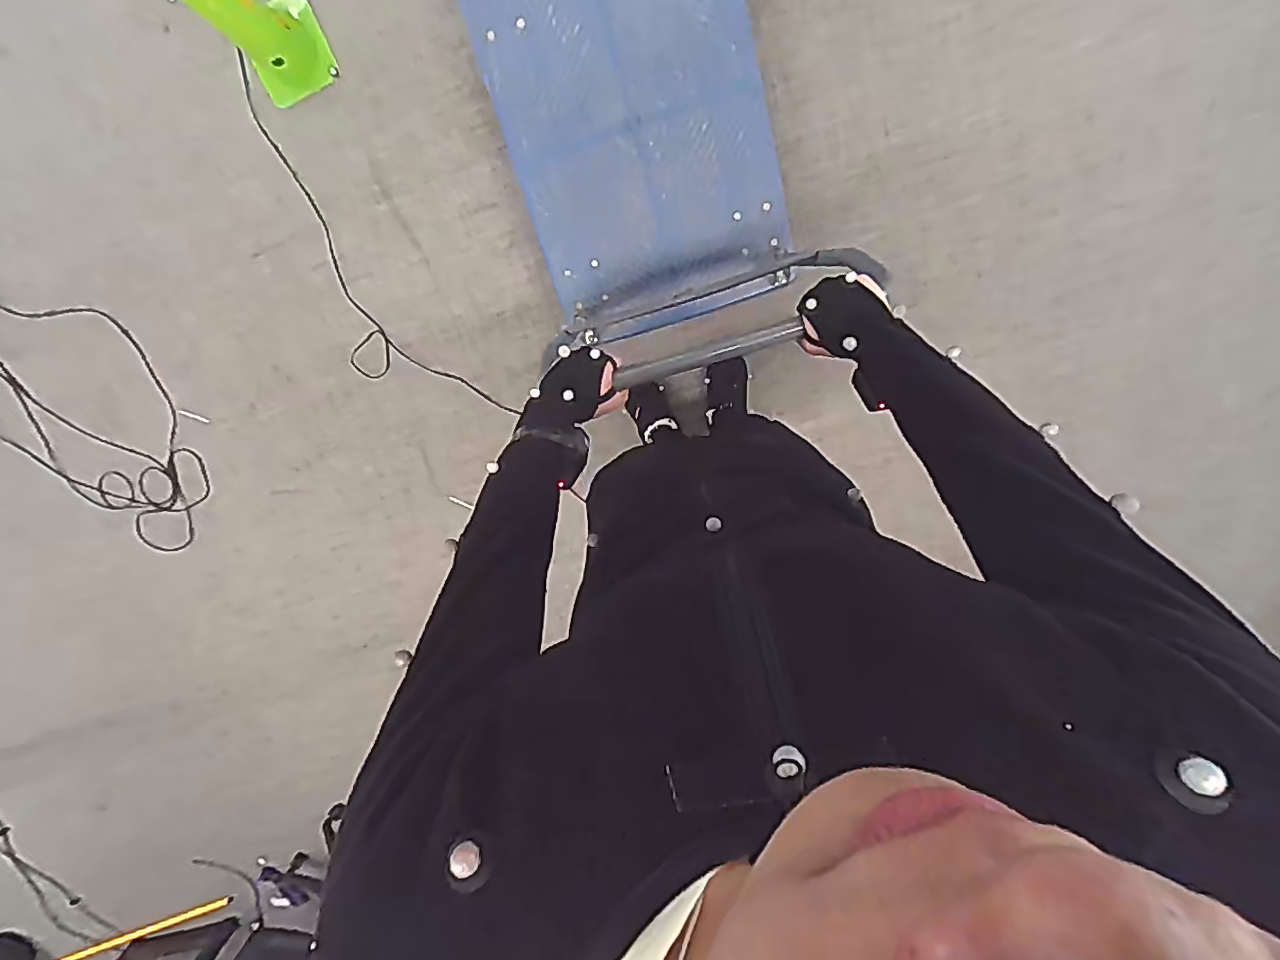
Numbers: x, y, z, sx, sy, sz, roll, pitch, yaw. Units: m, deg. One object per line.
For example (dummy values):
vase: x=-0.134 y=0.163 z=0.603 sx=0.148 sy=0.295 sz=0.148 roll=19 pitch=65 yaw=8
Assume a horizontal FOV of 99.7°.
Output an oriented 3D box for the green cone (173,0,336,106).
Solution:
green cone: x=-0.882 y=-1.005 z=1.163 sx=0.202 sy=0.368 sz=0.200 roll=-20 pitch=107 yaw=12
